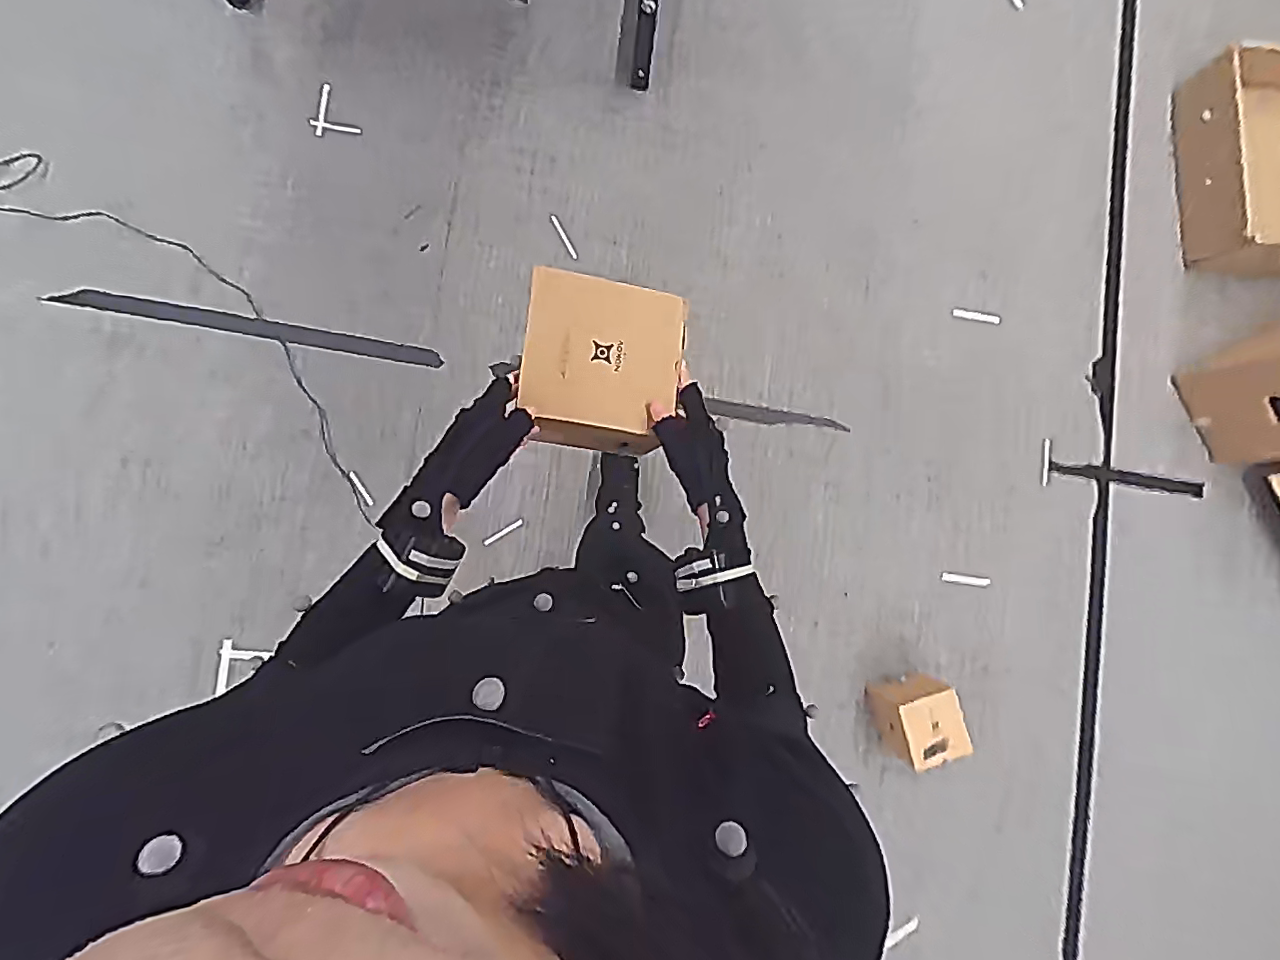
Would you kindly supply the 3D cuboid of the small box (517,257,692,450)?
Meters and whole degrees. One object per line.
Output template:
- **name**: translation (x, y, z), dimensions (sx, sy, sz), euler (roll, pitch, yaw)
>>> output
- **small box**: translation (-0.050, -0.136, 0.652), dimensions (0.179, 0.176, 0.168), euler (7, 82, -12)

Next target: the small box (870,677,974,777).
- **small box**: translation (0.757, 0.661, 1.466), dimensions (0.168, 0.176, 0.179), euler (-14, 86, -6)
